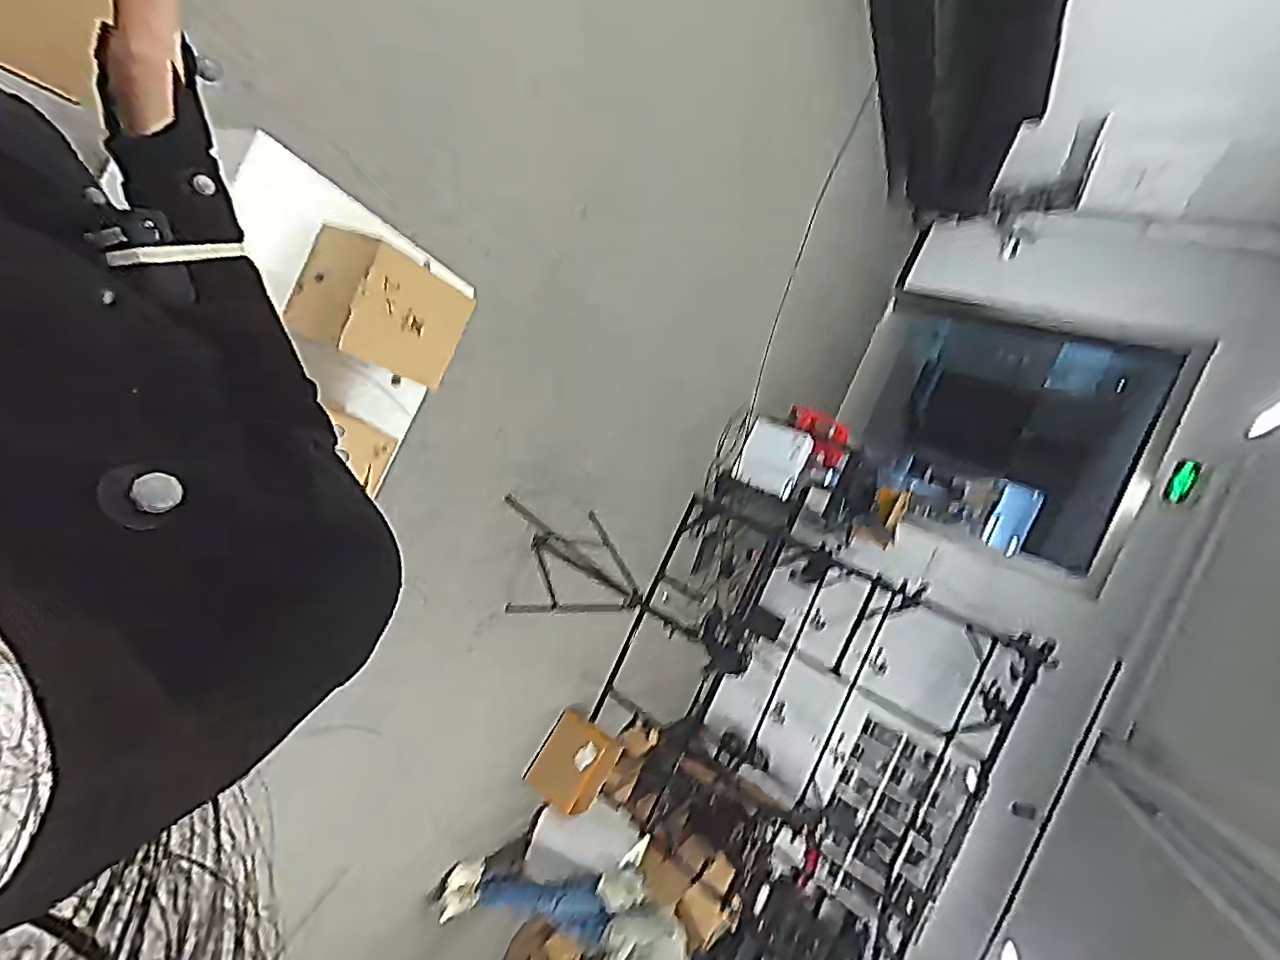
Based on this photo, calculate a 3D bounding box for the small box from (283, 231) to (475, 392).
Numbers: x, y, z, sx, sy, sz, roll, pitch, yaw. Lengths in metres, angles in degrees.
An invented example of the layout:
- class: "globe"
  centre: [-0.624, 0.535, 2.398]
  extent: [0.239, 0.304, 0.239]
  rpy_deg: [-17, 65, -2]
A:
- class: "small box"
  centre: [-0.400, -0.260, 0.836]
  extent: [0.179, 0.176, 0.168]
  rpy_deg: [23, 91, -60]

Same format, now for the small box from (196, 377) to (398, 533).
- class: "small box"
  centre: [-0.515, -0.040, 0.814]
  extent: [0.168, 0.176, 0.179]
  rpy_deg: [-64, 149, -3]
